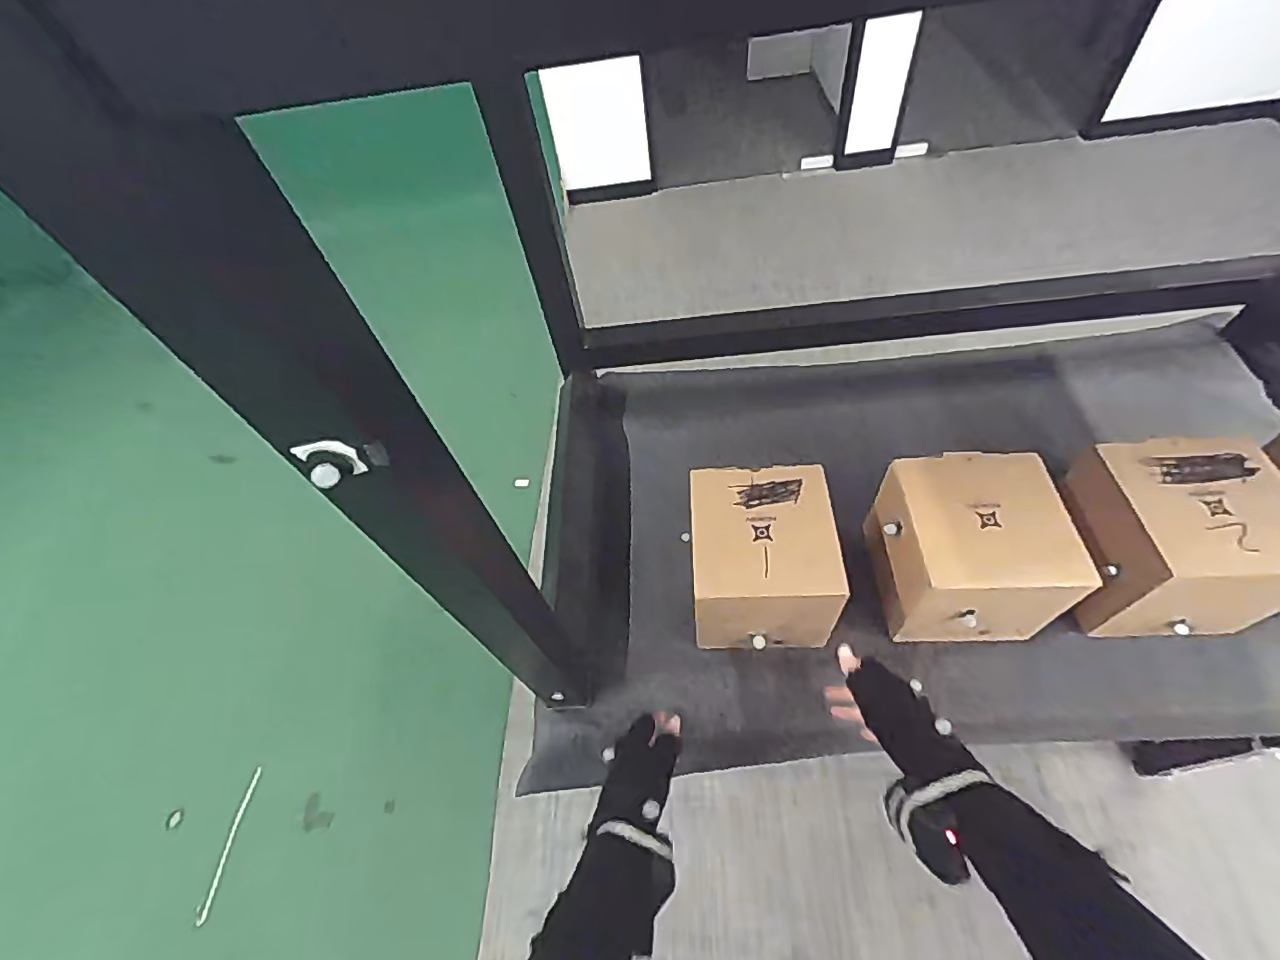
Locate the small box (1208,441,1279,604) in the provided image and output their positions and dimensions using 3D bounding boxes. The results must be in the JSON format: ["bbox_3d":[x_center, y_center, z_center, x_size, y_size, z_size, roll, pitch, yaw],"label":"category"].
[{"bbox_3d":[0.844,0.052,0.624,0.168,0.176,0.179,-2,53,8],"label":"small box"}]

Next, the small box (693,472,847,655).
[{"bbox_3d":[0.151,0.109,0.692,0.168,0.176,0.179,-3,54,7],"label":"small box"}]

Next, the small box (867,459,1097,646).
[{"bbox_3d":[0.395,0.095,0.665,0.168,0.176,0.179,-2,53,7],"label":"small box"}]
